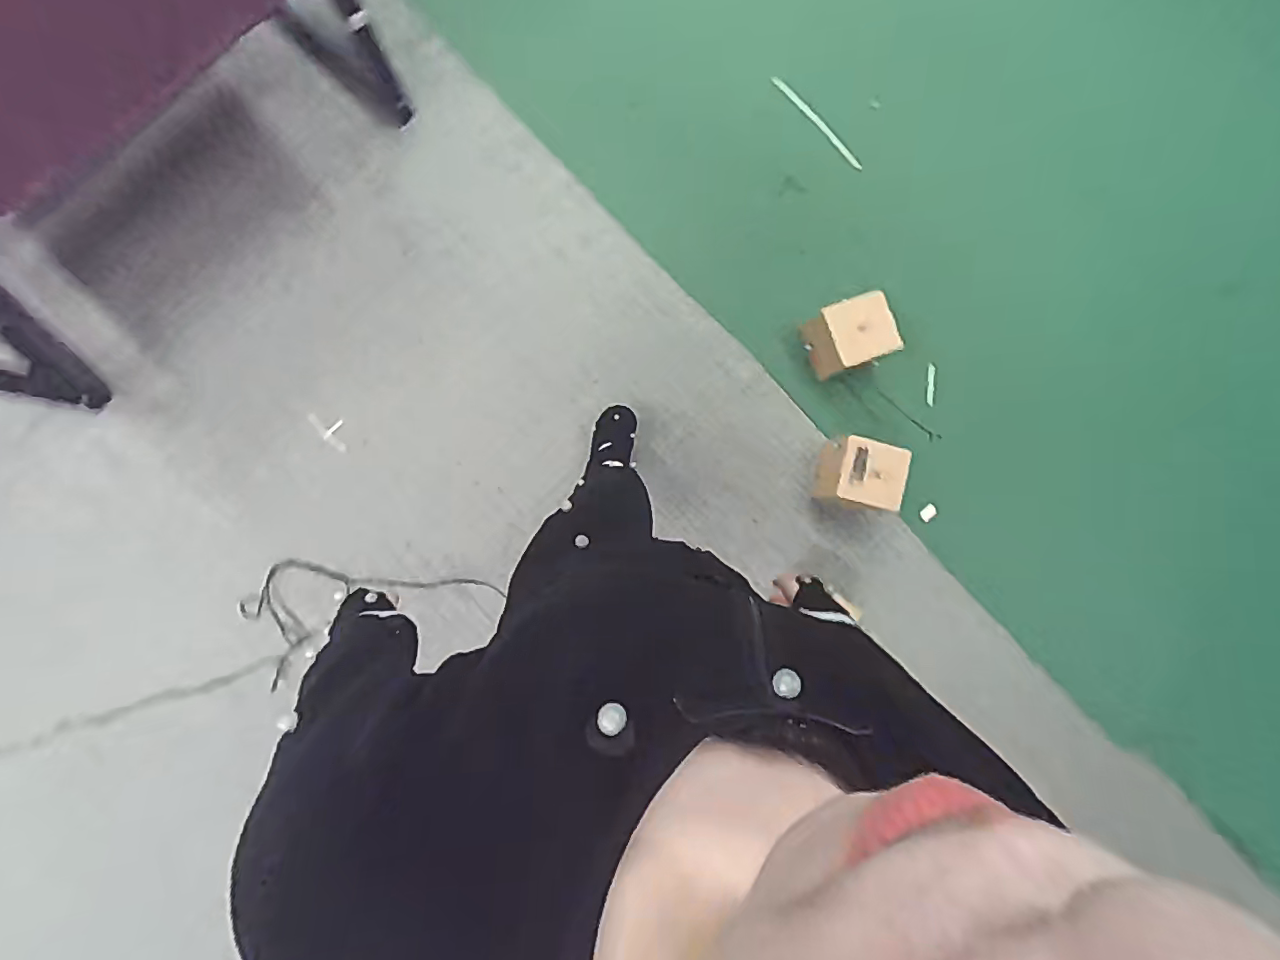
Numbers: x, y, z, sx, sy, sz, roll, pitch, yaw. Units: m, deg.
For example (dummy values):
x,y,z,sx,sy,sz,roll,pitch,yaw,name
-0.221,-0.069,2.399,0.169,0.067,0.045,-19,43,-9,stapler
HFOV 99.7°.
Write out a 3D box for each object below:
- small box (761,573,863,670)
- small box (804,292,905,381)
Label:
x,y,z,sx,sy,sz,roll,pitch,yaw,name
0.444,0.363,1.430,0.168,0.176,0.179,35,85,-1,small box
0.584,-0.389,1.490,0.179,0.176,0.168,-19,88,-5,small box
